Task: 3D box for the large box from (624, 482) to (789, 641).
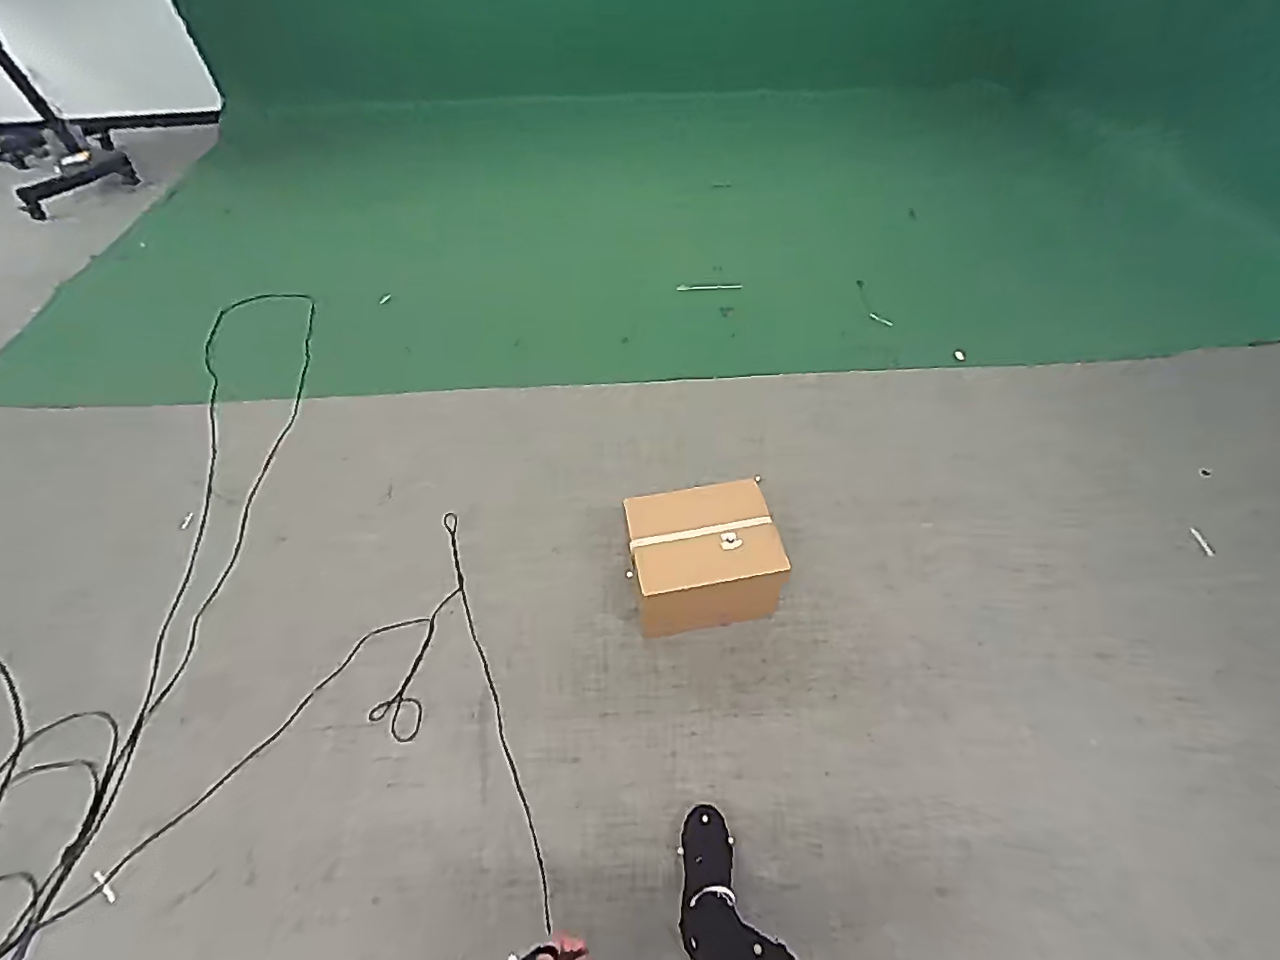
[{"bbox_3d":[0.180,0.249,1.626,0.408,0.320,0.320,-9,53,-5],"label":"large box"}]
